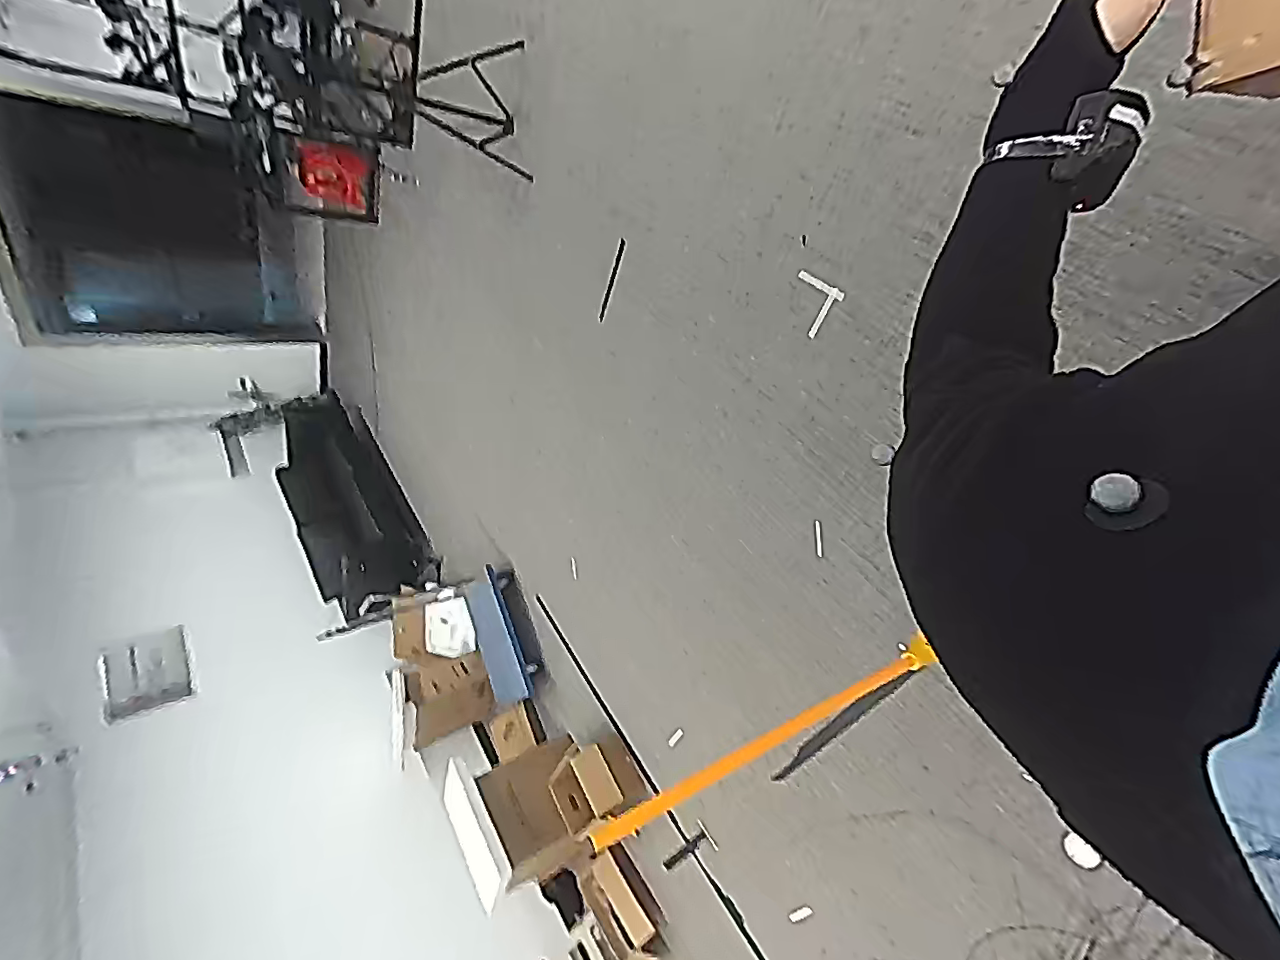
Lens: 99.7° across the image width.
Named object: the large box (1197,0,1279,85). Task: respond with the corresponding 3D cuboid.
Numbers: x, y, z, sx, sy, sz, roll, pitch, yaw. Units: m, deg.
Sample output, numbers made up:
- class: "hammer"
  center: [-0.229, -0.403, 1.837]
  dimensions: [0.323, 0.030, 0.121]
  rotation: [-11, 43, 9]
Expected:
- class: "large box"
  center: [0.582, -0.449, 0.245]
  dimensions: [0.408, 0.320, 0.320]
  rotation: [11, 120, 55]
